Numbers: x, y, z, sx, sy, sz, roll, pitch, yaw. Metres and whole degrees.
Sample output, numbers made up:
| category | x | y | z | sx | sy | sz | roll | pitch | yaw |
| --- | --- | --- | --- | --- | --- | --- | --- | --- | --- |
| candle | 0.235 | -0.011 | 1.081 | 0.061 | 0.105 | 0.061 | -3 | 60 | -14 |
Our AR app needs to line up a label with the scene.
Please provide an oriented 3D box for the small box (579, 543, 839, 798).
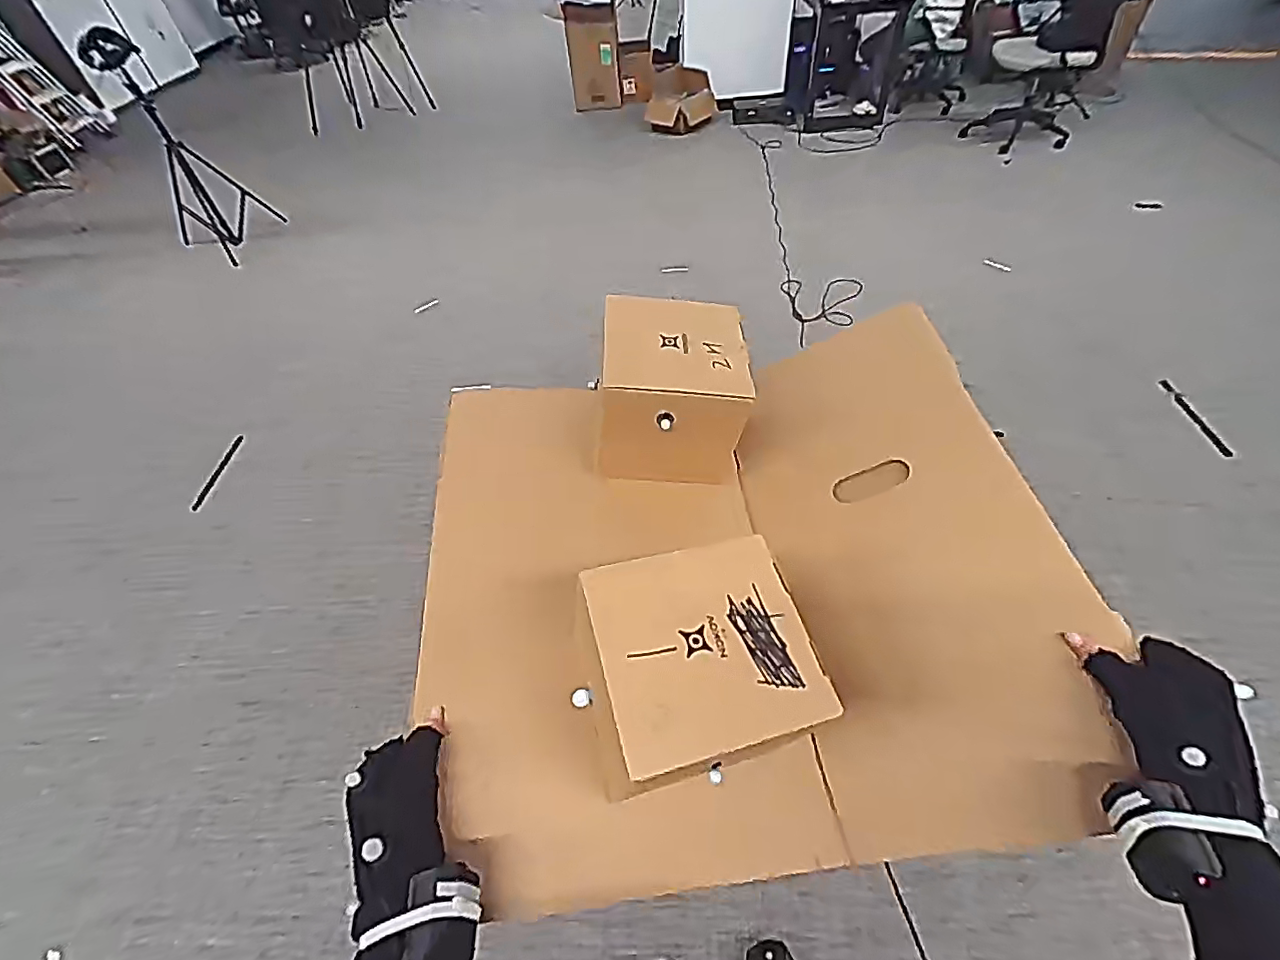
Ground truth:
| category | x | y | z | sx | sy | sz | roll | pitch | yaw |
| --- | --- | --- | --- | --- | --- | --- | --- | --- | --- |
| small box | 0.045 | 0.182 | 0.511 | 0.179 | 0.176 | 0.168 | -10 | 57 | -15 |

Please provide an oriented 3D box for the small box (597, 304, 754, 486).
| category | x | y | z | sx | sy | sz | roll | pitch | yaw |
| --- | --- | --- | --- | --- | --- | --- | --- | --- | --- |
| small box | 0.035 | -0.106 | 0.715 | 0.179 | 0.176 | 0.168 | 4 | 54 | -6 |
